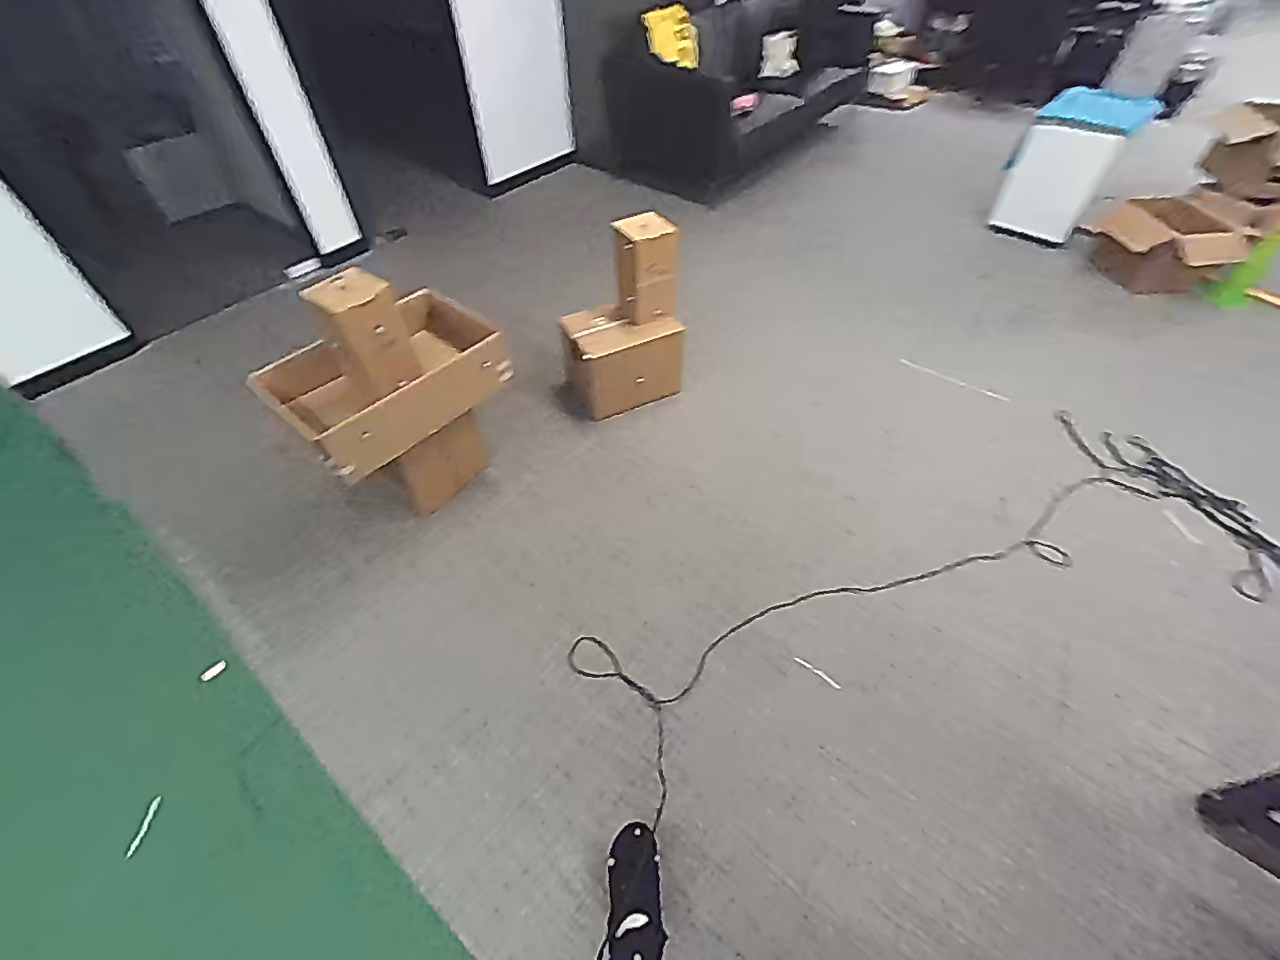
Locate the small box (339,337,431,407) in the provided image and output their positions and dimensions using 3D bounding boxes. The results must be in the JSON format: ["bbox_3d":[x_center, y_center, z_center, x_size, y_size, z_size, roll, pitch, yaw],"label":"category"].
[{"bbox_3d":[-0.771,-0.350,1.639,0.179,0.176,0.168,32,57,24],"label":"small box"}]

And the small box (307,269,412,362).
[{"bbox_3d":[-0.774,-0.454,1.512,0.179,0.176,0.168,30,56,23],"label":"small box"}]

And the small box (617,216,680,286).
[{"bbox_3d":[0.028,-0.836,1.978,0.168,0.176,0.179,-25,53,-19],"label":"small box"}]
